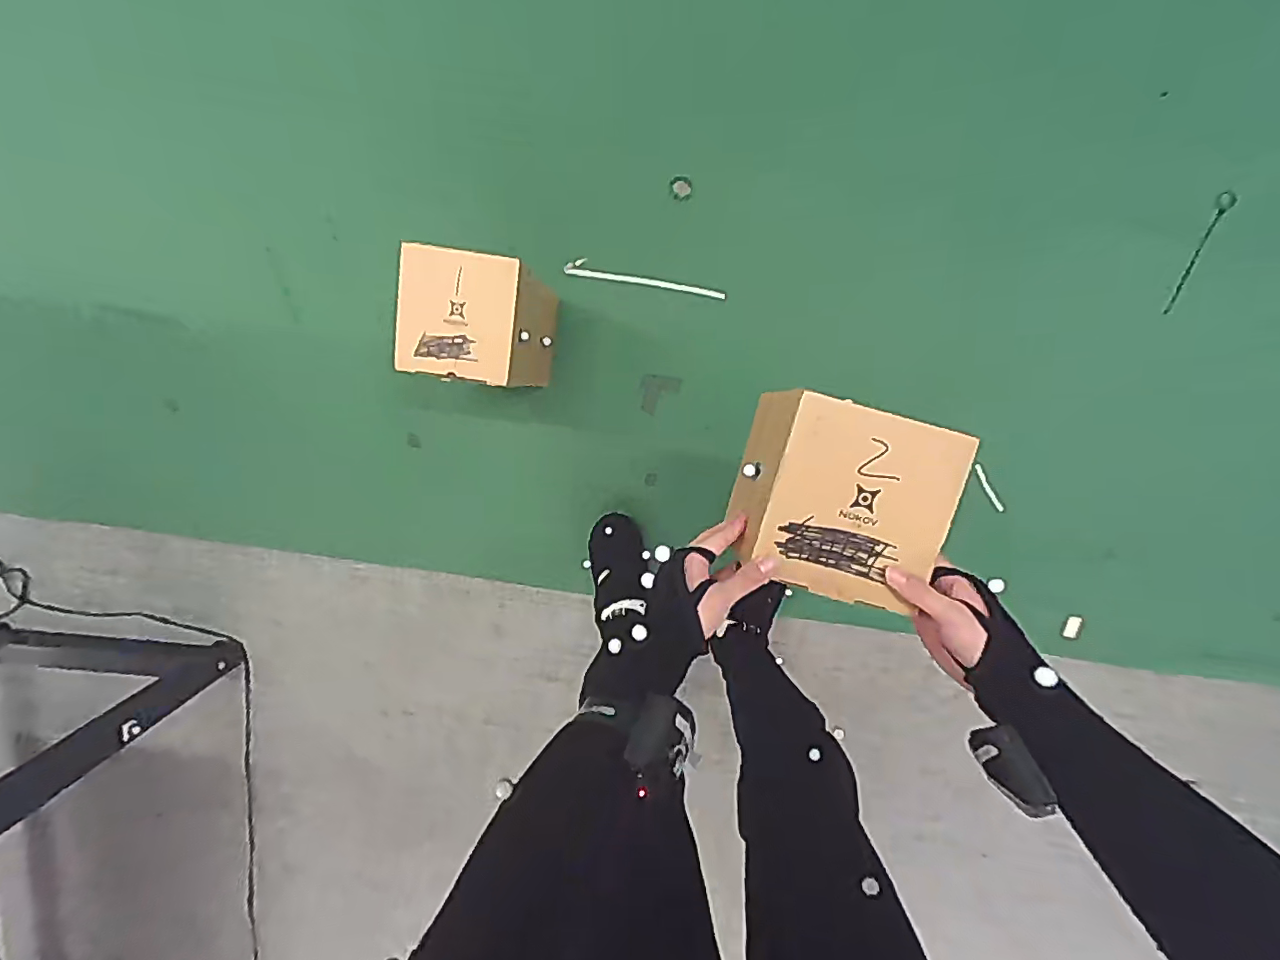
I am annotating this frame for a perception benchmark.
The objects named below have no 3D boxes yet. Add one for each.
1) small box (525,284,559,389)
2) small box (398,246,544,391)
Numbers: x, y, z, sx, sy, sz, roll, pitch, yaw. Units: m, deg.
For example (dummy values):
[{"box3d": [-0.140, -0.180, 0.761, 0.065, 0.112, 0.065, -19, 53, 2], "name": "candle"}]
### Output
[{"box3d": [-0.247, -0.266, 0.993, 0.168, 0.176, 0.179, 9, 101, -1], "name": "small box"}, {"box3d": [-0.249, -0.237, 0.831, 0.168, 0.176, 0.179, 8, 100, -1], "name": "small box"}]
